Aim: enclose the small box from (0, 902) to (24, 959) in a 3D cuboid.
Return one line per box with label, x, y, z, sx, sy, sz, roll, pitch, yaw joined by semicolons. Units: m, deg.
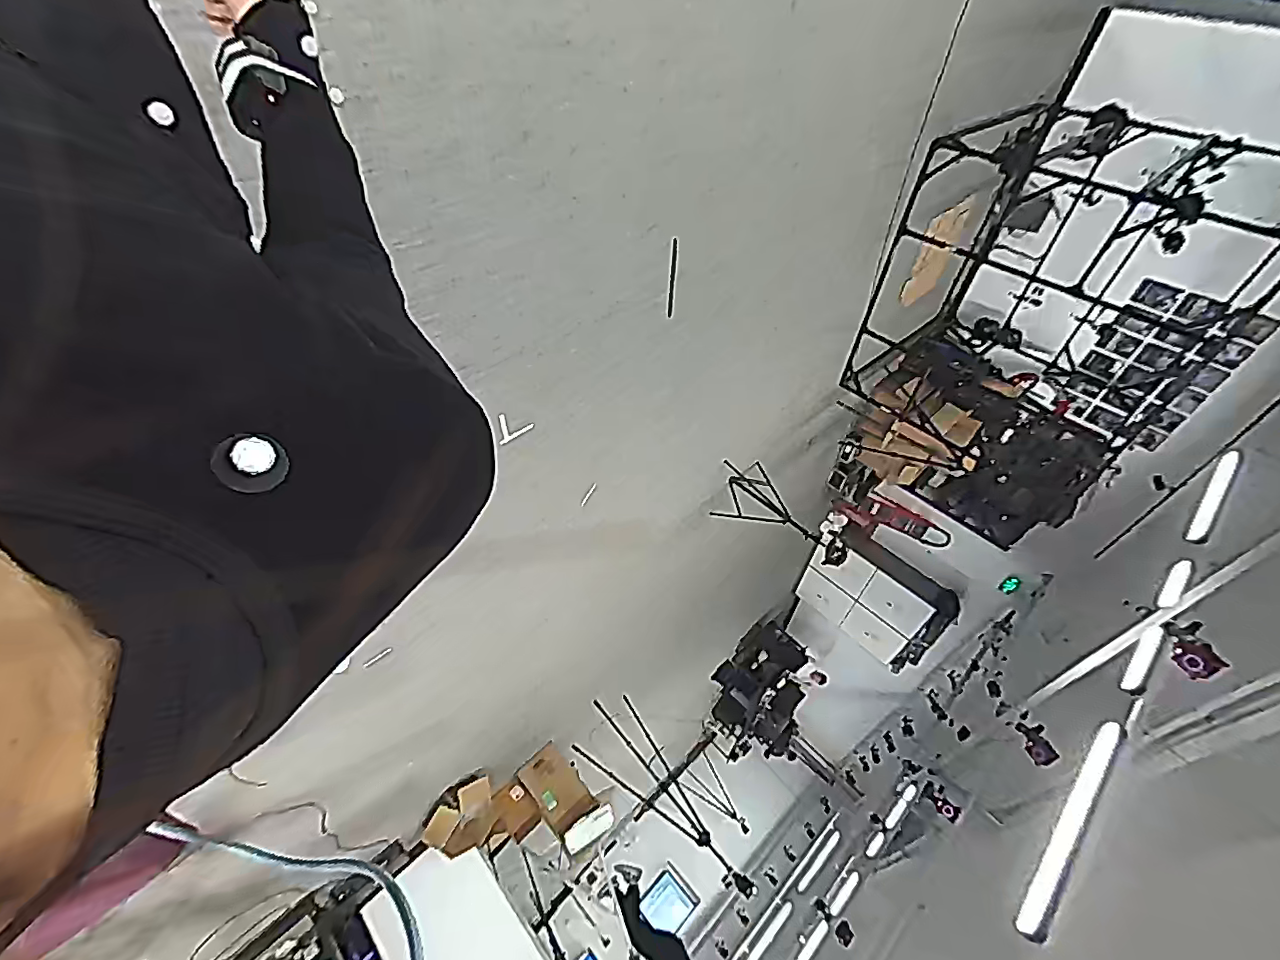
small box;-1.240;0.885;0.942;0.179;0.176;0.168;-38;150;-22
